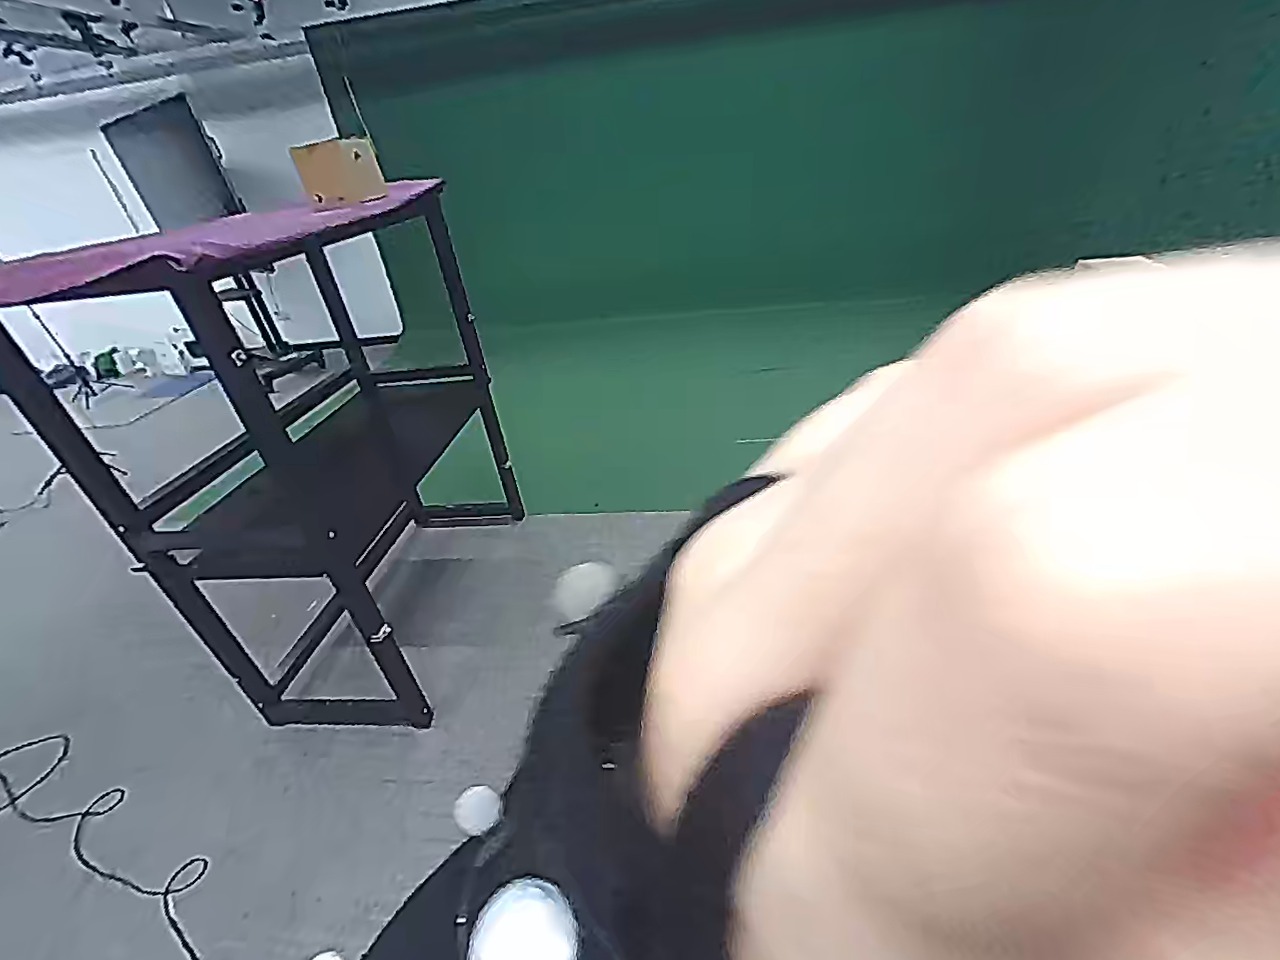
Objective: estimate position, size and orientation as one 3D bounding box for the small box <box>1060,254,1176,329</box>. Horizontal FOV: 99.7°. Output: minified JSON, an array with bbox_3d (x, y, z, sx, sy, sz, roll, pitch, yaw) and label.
[{"bbox_3d":[1.366,-0.539,1.560,0.168,0.176,0.179,0,34,9],"label":"small box"}]

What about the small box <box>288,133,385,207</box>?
[{"bbox_3d":[-0.918,-0.948,1.659,0.168,0.176,0.179,-4,33,10],"label":"small box"}]
